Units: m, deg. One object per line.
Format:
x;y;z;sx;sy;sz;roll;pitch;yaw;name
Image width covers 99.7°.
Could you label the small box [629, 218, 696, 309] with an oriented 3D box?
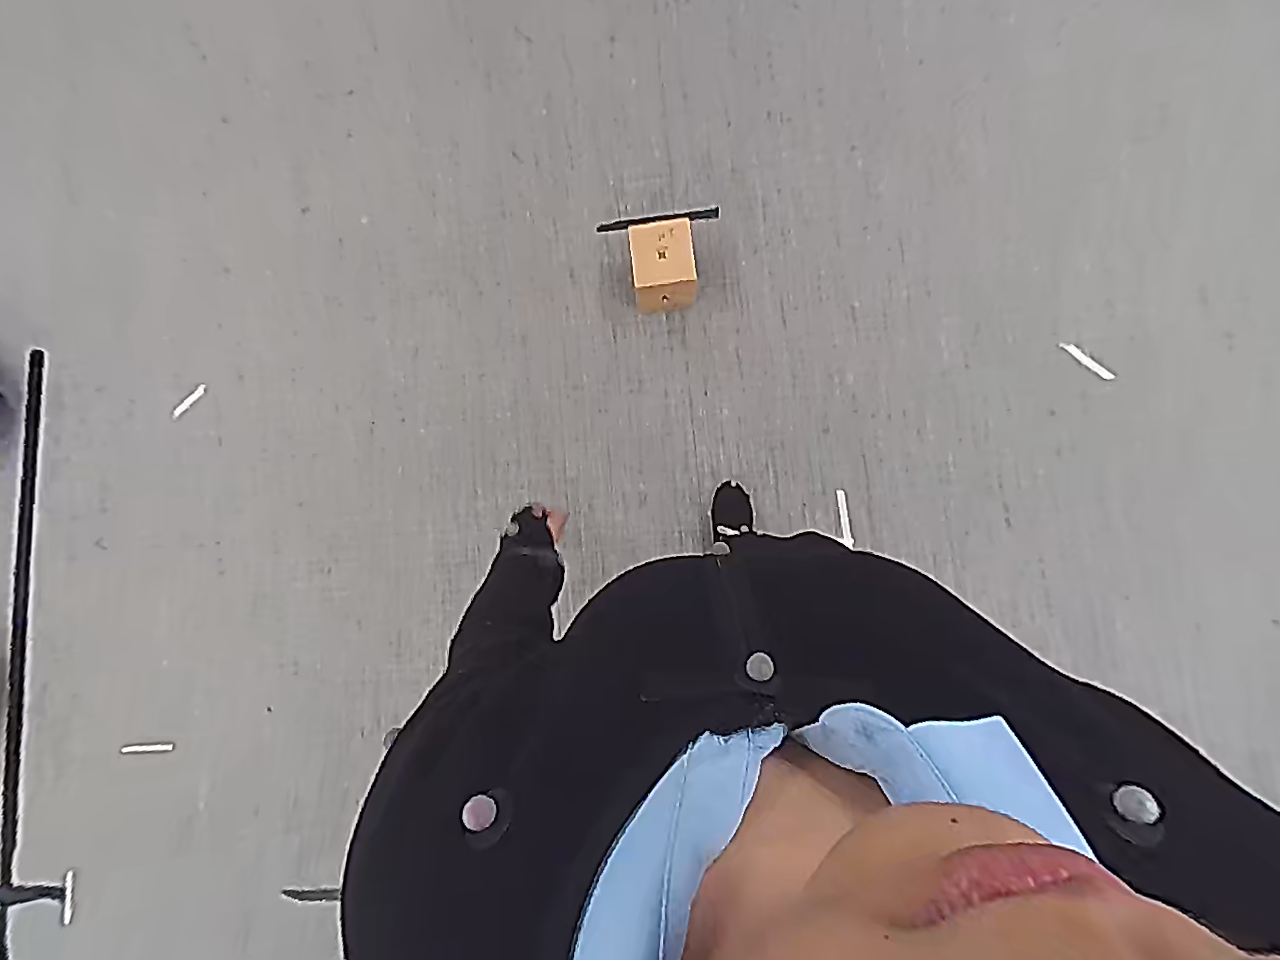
0.067;-0.588;1.498;0.168;0.176;0.179;-7;83;3;small box
